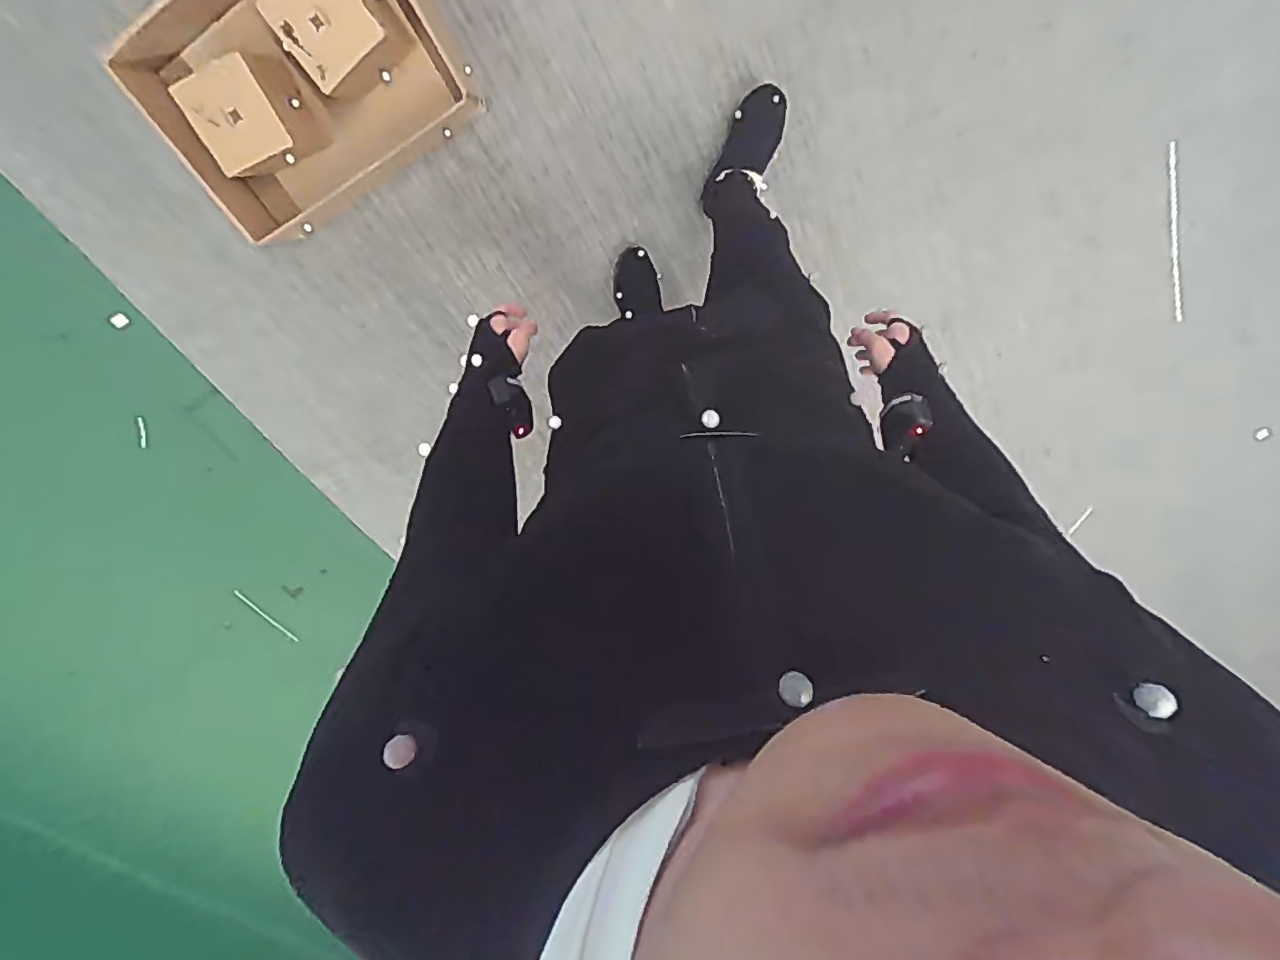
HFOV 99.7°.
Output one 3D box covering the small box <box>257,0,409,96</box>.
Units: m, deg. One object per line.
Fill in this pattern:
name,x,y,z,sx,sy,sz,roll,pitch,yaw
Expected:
small box,-0.585,-0.896,1.064,0.179,0.176,0.168,-29,118,18
